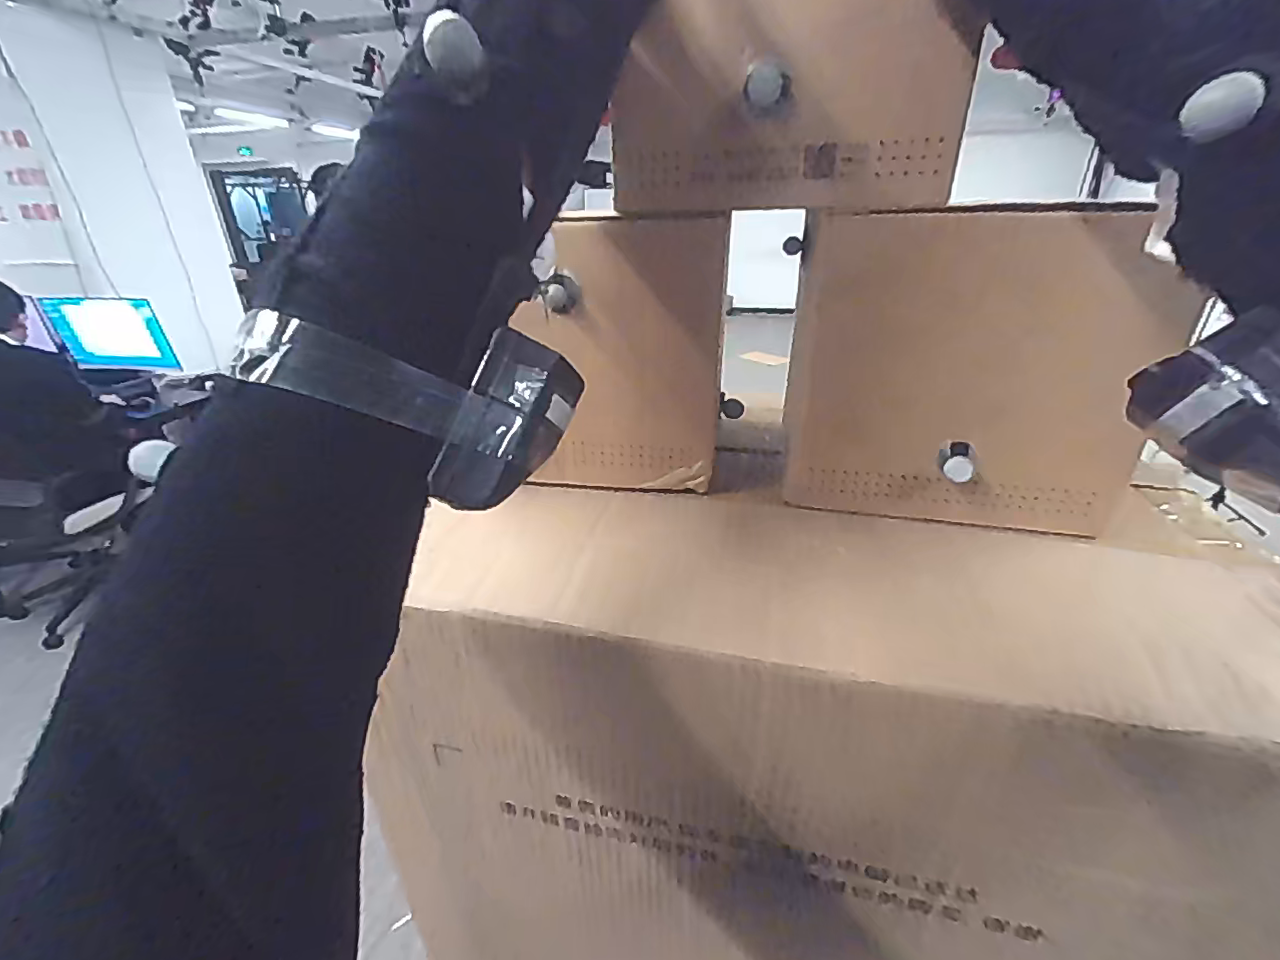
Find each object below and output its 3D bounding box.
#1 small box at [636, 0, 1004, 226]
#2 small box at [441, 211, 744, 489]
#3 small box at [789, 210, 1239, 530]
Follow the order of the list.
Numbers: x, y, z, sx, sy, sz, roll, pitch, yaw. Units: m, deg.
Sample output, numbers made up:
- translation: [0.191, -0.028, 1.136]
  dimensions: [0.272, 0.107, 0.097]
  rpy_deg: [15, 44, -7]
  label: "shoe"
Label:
- translation: [0.093, -0.244, 0.315]
  dimensions: [0.168, 0.176, 0.179]
  rpy_deg: [5, 28, 13]
  label: "small box"
- translation: [-0.017, -0.104, 0.404]
  dimensions: [0.179, 0.176, 0.168]
  rpy_deg: [5, 27, 9]
  label: "small box"
- translation: [0.199, -0.082, 0.358]
  dimensions: [0.179, 0.176, 0.168]
  rpy_deg: [5, 27, 12]
  label: "small box"
